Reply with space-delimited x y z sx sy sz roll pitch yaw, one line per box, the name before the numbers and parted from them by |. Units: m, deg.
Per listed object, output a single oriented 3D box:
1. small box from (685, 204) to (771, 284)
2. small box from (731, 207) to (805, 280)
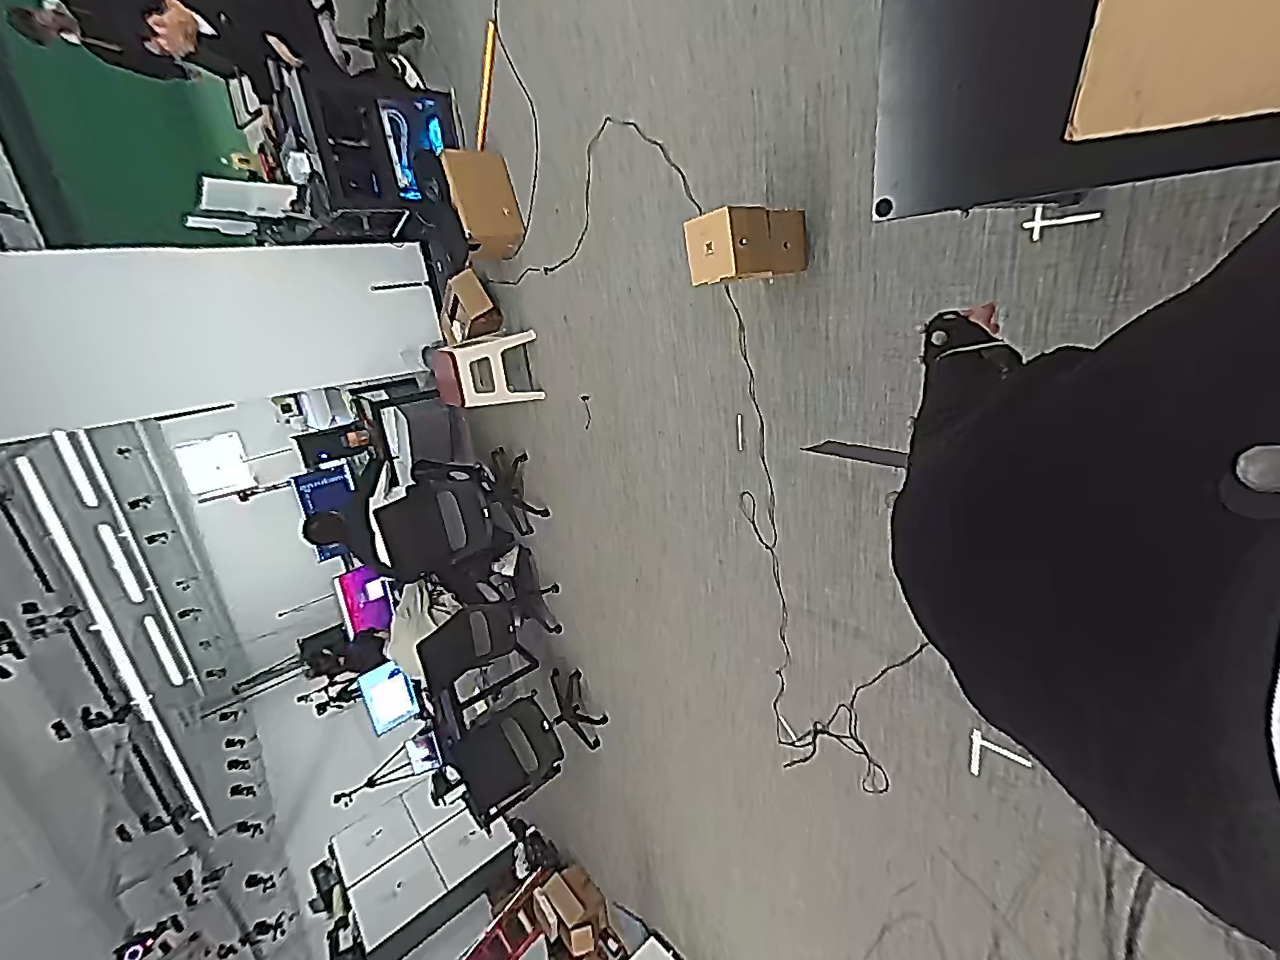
small box | 0.253 -0.663 1.522 0.168 0.176 0.179 7 112 50
small box | 0.377 -0.705 1.618 0.168 0.176 0.179 12 117 49
